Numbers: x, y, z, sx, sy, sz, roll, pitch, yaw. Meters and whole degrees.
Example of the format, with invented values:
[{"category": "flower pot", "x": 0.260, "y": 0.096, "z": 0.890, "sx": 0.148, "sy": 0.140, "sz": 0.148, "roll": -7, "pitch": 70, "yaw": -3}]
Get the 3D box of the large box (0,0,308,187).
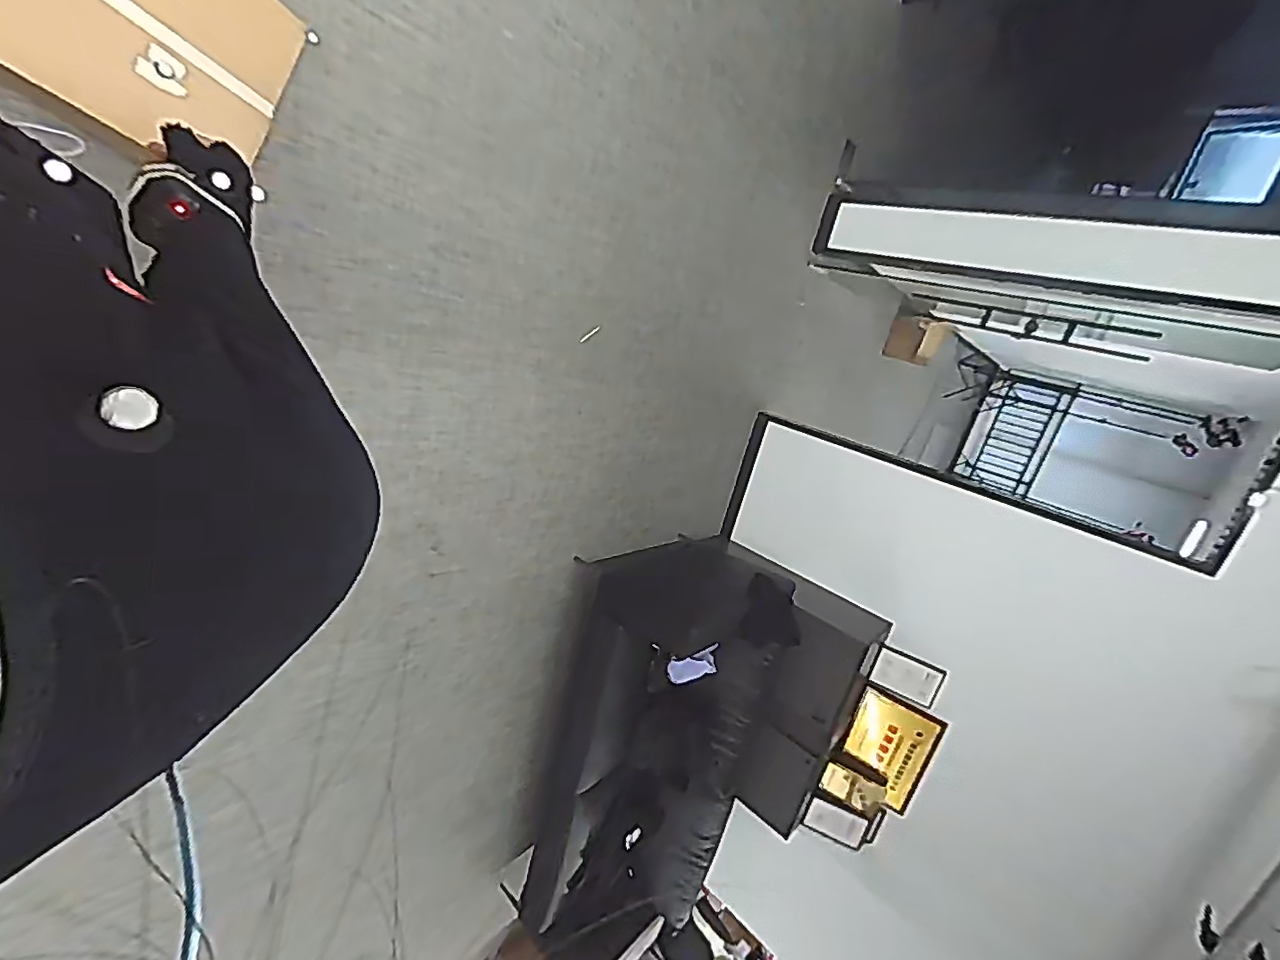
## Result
[{"category": "large box", "x": -0.835, "y": -0.727, "z": 0.834, "sx": 0.408, "sy": 0.320, "sz": 0.320, "roll": 22, "pitch": 94, "yaw": -56}]
